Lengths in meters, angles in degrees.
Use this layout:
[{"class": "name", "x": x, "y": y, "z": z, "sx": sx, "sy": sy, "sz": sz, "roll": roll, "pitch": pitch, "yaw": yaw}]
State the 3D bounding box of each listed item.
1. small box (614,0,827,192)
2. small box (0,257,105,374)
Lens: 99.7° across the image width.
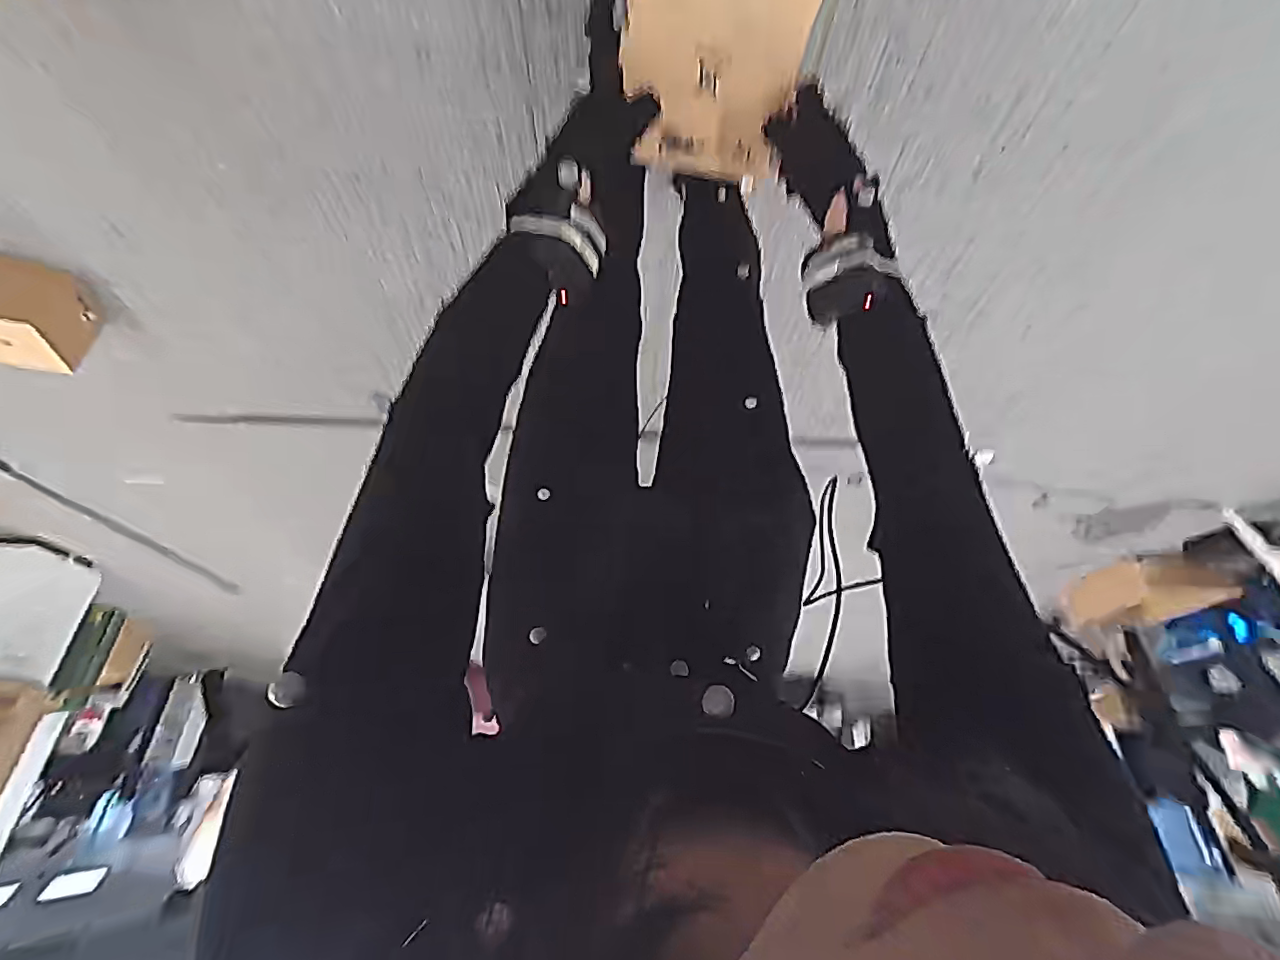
[{"class": "small box", "x": 0.066, "y": -0.430, "z": 0.557, "sx": 0.168, "sy": 0.176, "sz": 0.179, "roll": 6, "pitch": 133, "yaw": -9}, {"class": "small box", "x": -1.359, "y": -0.366, "z": 1.193, "sx": 0.179, "sy": 0.176, "sz": 0.168, "roll": 9, "pitch": 149, "yaw": -16}]
